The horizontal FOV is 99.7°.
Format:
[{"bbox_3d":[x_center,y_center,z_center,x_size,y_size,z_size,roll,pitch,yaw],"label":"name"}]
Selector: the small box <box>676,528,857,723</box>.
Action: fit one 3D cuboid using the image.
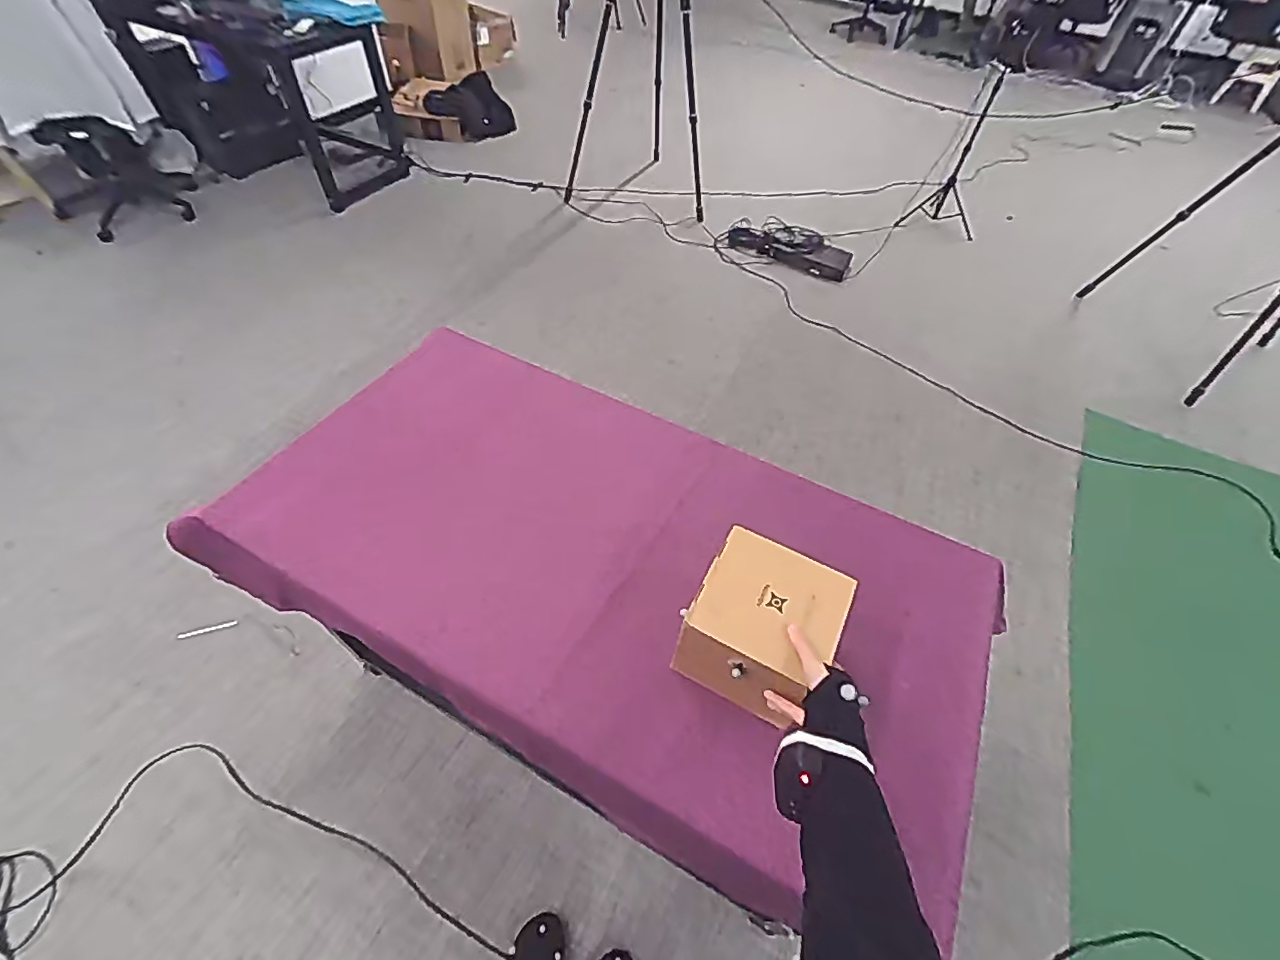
[{"bbox_3d":[0.163,0.203,0.738,0.179,0.176,0.168,26,55,15],"label":"small box"}]
